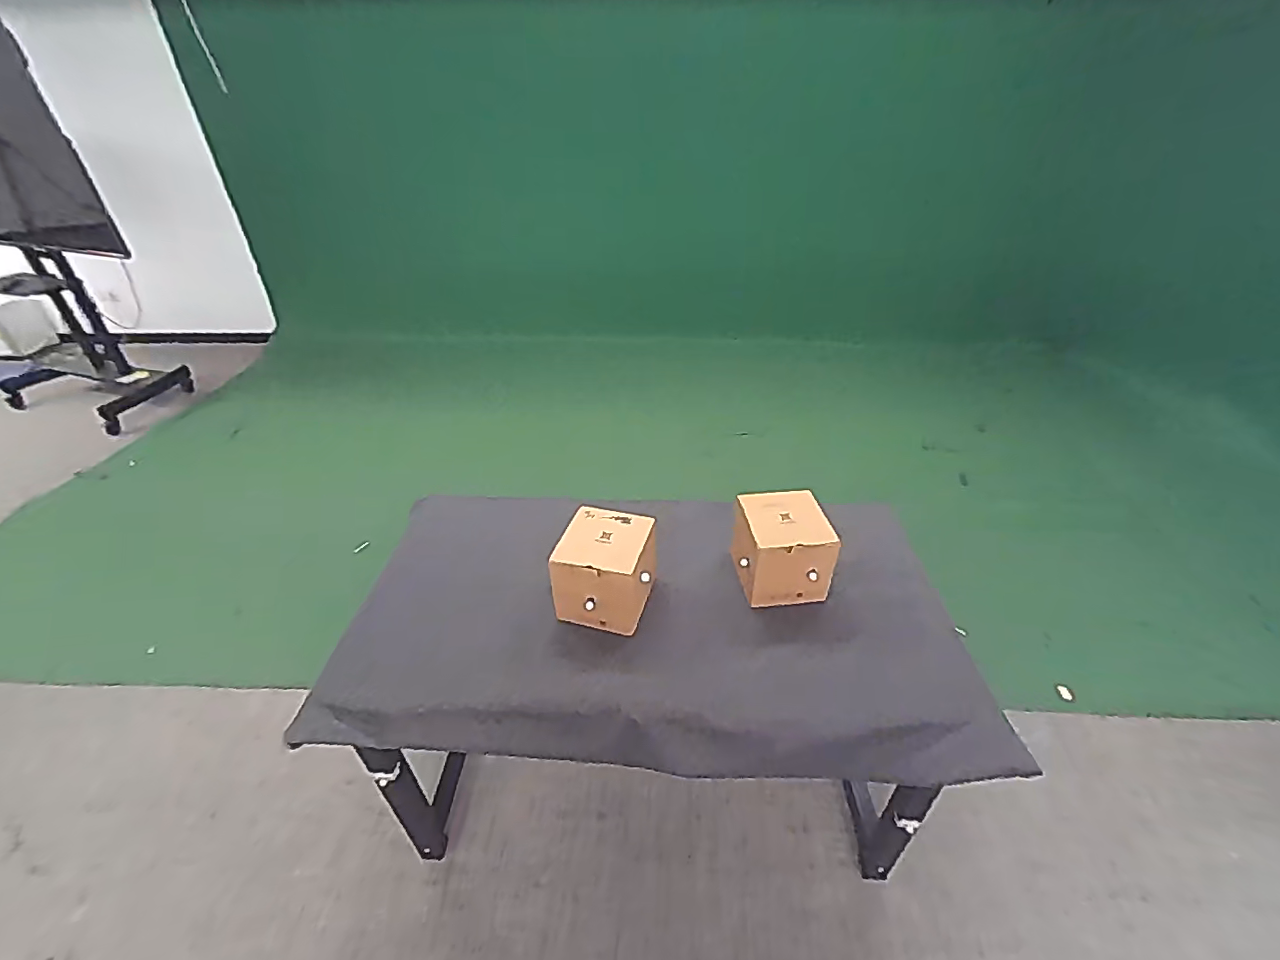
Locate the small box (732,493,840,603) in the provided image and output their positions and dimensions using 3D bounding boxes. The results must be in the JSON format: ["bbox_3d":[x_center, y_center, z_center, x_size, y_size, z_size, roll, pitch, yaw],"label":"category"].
[{"bbox_3d":[0.302,0.148,1.155,0.168,0.176,0.179,-2,34,-6],"label":"small box"}]

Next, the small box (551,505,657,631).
[{"bbox_3d":[-0.065,0.179,1.108,0.168,0.176,0.179,10,37,13],"label":"small box"}]
